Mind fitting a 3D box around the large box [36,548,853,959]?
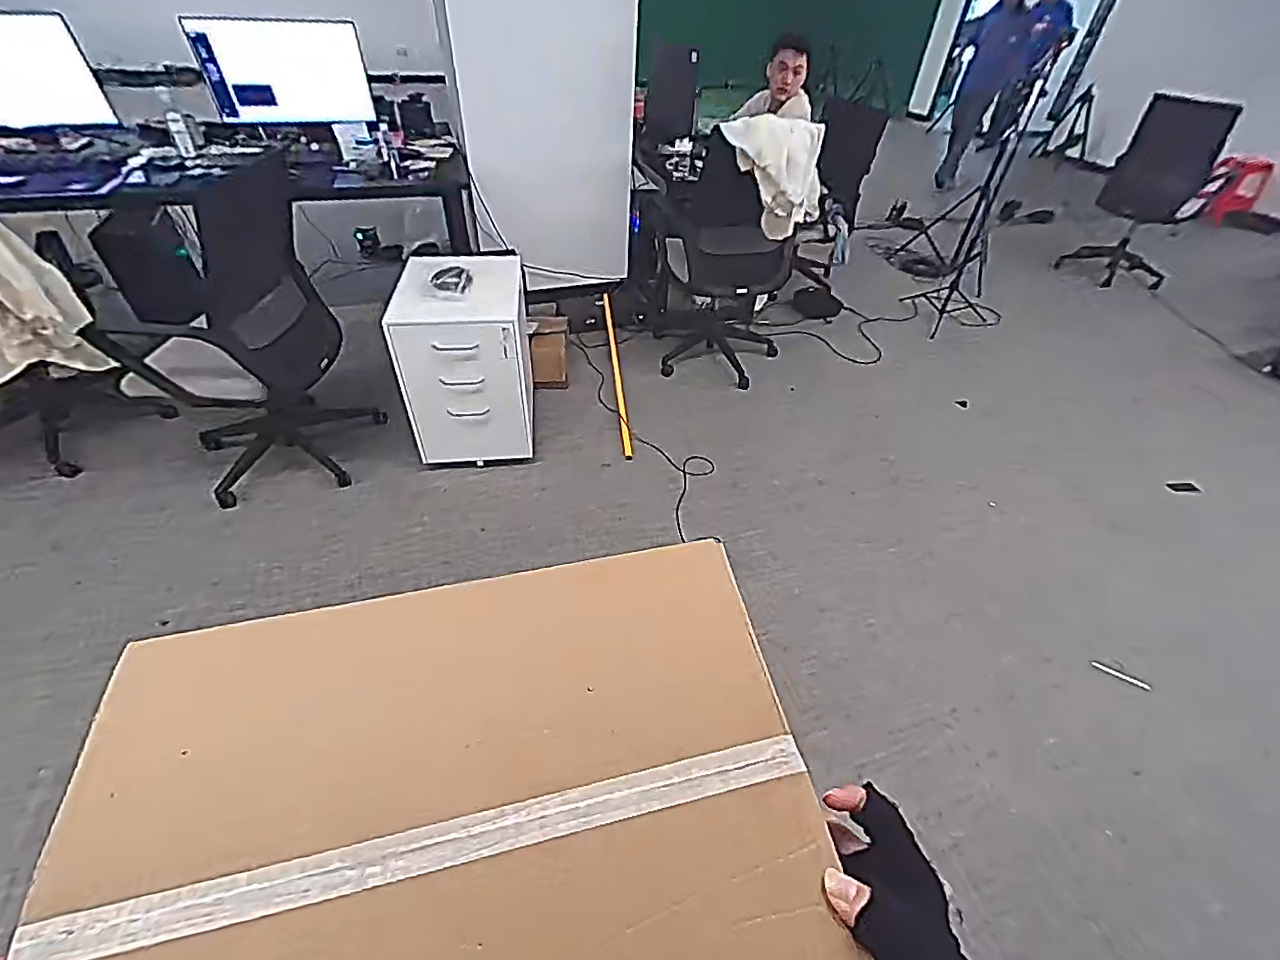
[{"bbox_3d":[-0.109,0.293,0.421,0.408,0.320,0.320,-9,51,-9],"label":"large box"}]
